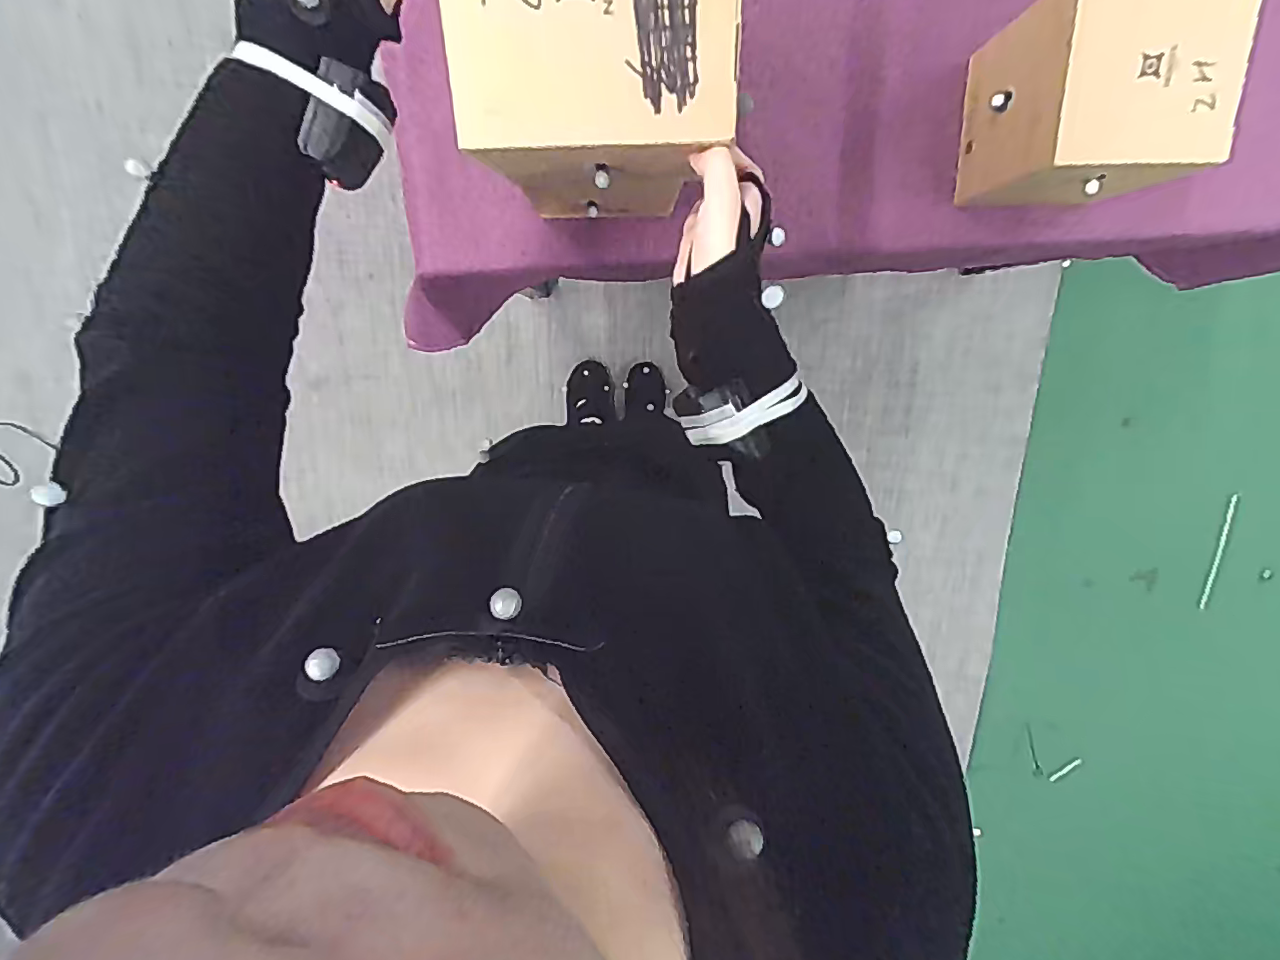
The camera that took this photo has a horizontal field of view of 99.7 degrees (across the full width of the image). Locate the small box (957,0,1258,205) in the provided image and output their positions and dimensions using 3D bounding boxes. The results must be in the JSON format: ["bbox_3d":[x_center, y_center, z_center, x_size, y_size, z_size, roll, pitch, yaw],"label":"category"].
[{"bbox_3d":[0.481,-0.407,0.587,0.179,0.176,0.168,-2,105,-2],"label":"small box"}]

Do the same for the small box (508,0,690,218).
[{"bbox_3d":[-0.040,-0.392,0.574,0.168,0.176,0.179,-2,106,-2],"label":"small box"}]

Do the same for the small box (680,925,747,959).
[{"bbox_3d":[0.203,1.372,1.489,0.179,0.176,0.168,0,107,-2],"label":"small box"}]
